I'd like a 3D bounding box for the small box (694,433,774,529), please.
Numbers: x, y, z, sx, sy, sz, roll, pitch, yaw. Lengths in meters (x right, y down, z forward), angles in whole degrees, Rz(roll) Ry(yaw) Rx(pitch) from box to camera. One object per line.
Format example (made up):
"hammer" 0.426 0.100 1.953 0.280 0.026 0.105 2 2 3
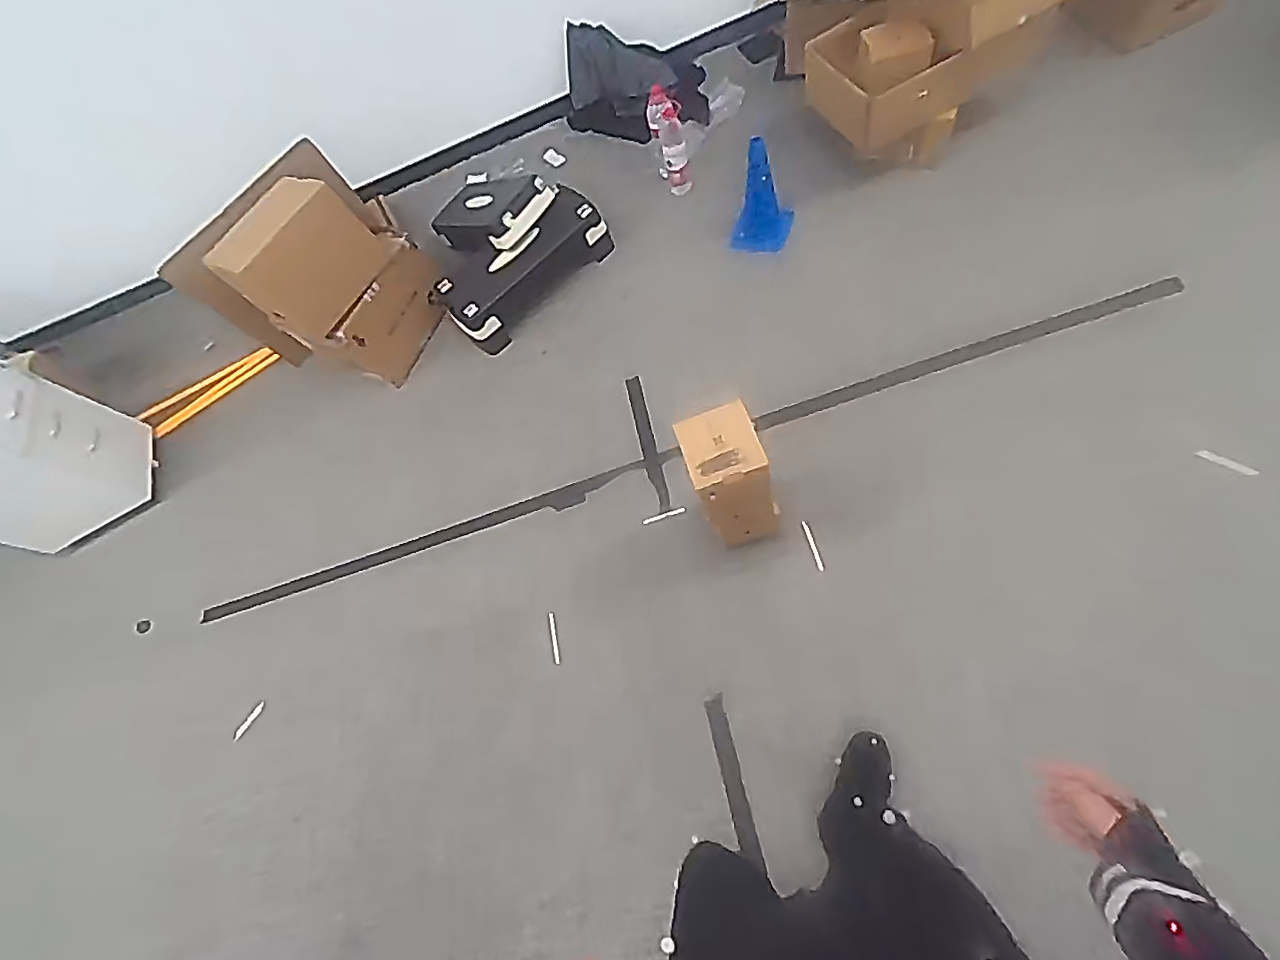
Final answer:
"small box" 0.245 0.008 1.394 0.168 0.176 0.179 -15 66 10
